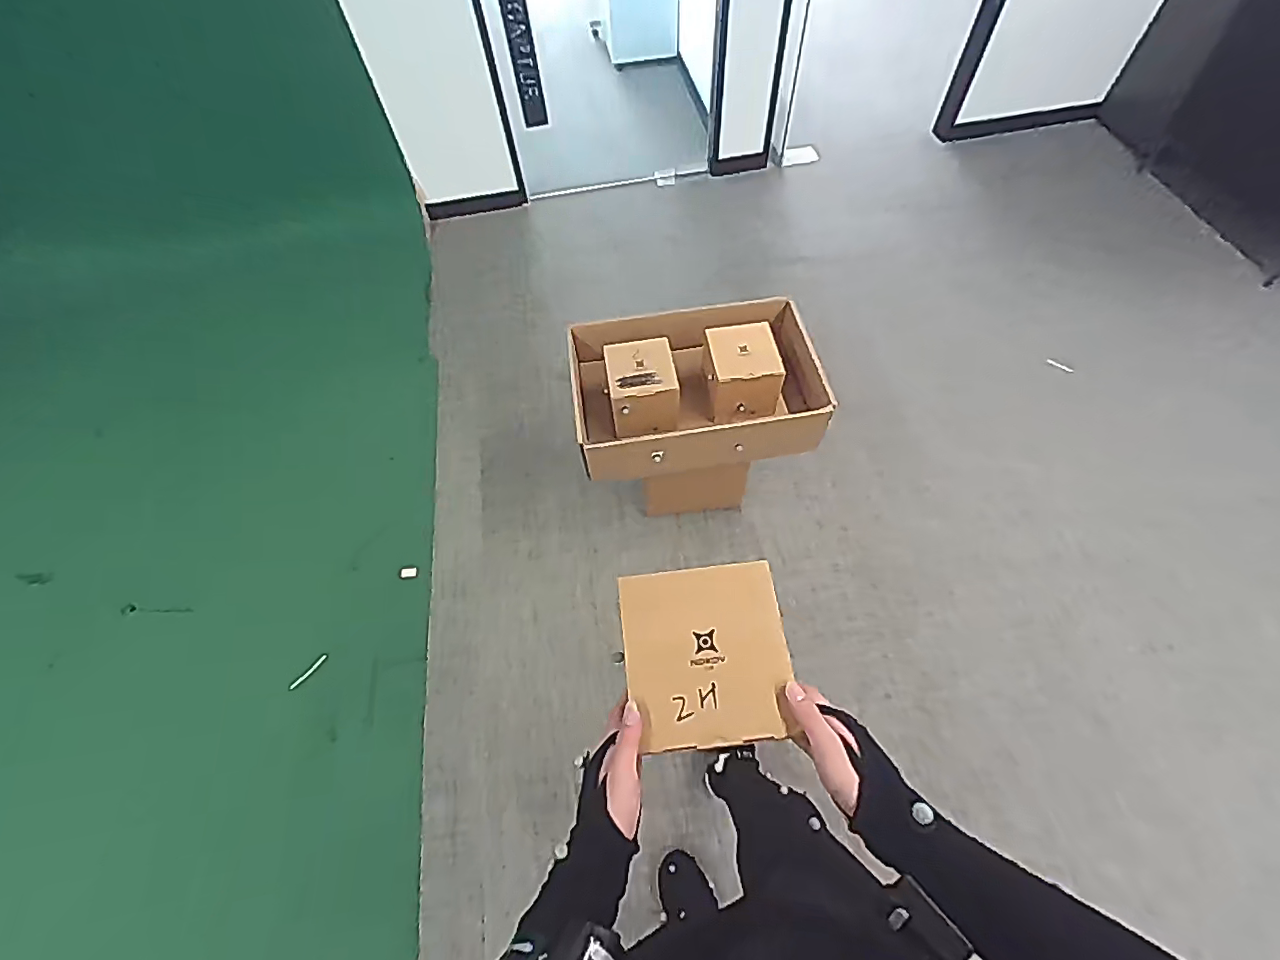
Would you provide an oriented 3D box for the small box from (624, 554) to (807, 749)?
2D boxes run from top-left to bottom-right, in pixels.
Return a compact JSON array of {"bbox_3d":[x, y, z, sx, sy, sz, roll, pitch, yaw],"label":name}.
[{"bbox_3d":[0.071,0.200,0.612,0.168,0.176,0.179,-6,63,0],"label":"small box"}]

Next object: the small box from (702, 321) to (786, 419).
[{"bbox_3d":[0.258,-0.281,1.392,0.168,0.176,0.179,-7,60,-2],"label":"small box"}]
